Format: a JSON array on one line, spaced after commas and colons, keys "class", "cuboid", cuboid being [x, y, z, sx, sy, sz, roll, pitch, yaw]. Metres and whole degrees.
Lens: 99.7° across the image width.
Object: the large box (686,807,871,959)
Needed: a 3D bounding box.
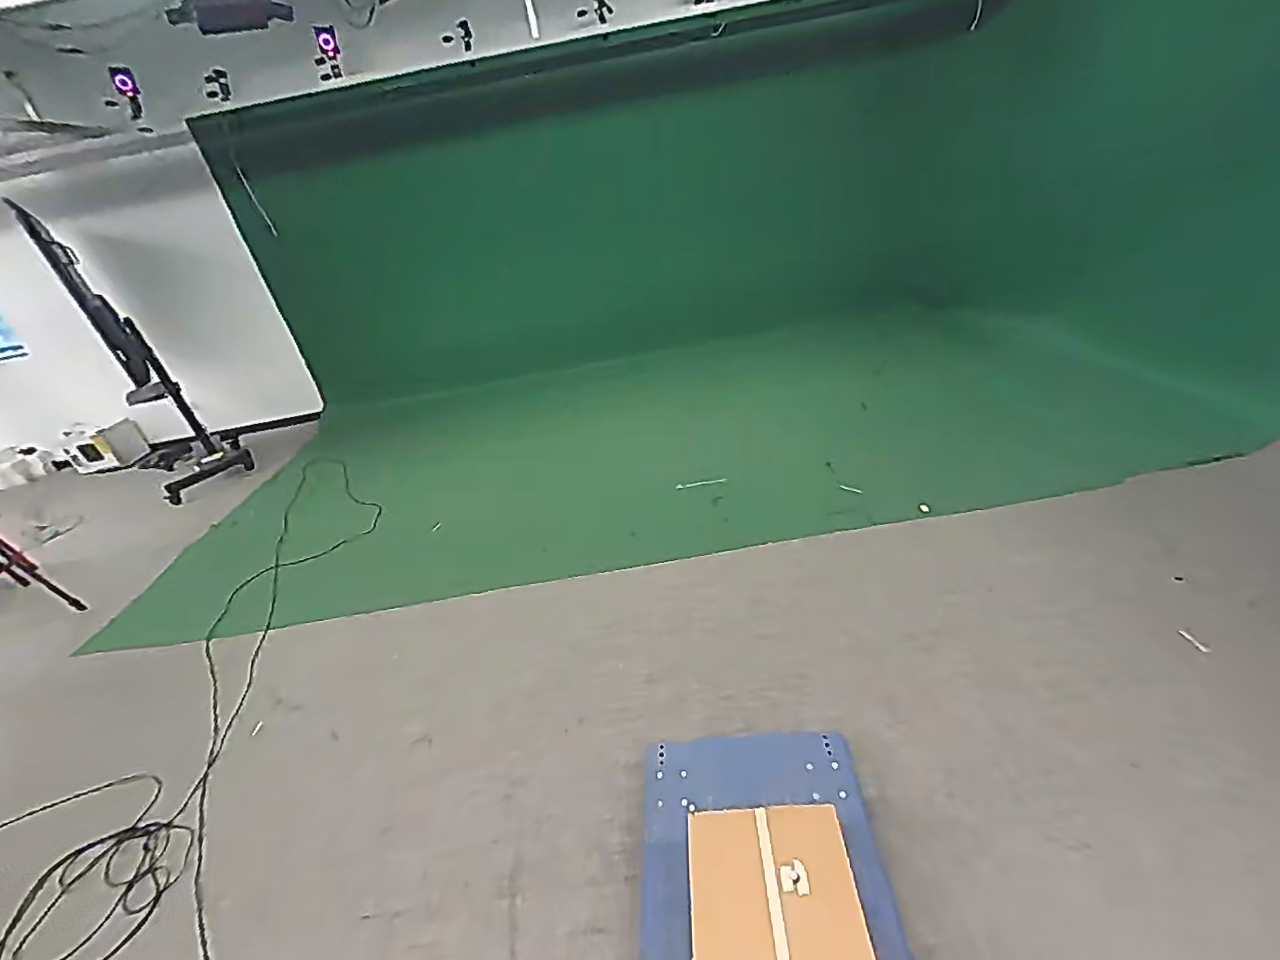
[{"class": "large box", "cuboid": [0.271, 0.942, 1.065, 0.320, 0.320, 0.408, -7, 29, 6]}]
